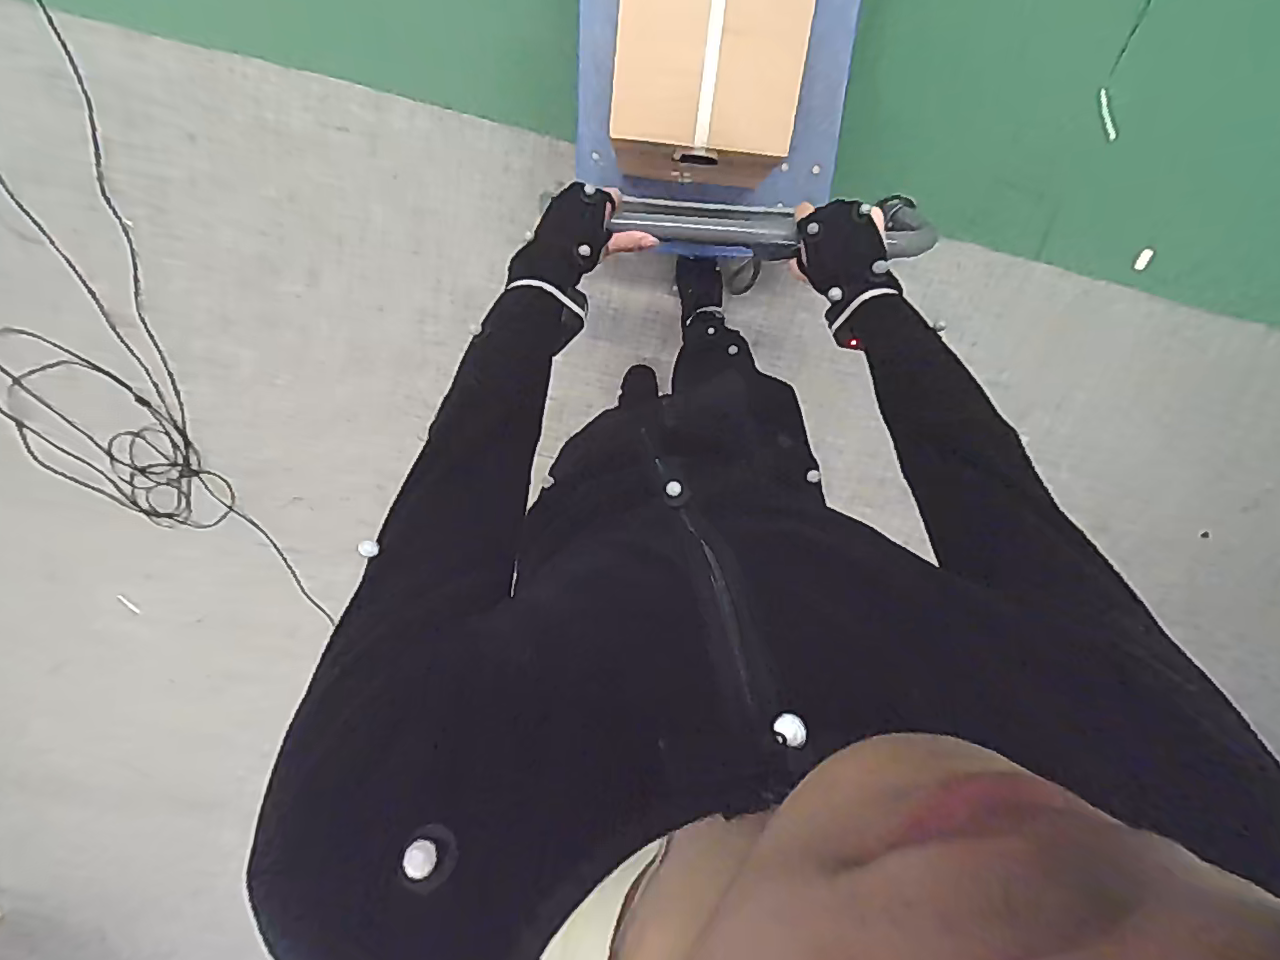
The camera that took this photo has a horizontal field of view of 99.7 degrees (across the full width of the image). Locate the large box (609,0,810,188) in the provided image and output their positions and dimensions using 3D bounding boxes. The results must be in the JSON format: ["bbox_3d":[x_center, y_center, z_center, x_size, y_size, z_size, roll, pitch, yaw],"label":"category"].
[{"bbox_3d":[0.123,-0.805,1.012,0.320,0.320,0.408,6,109,-1],"label":"large box"}]
